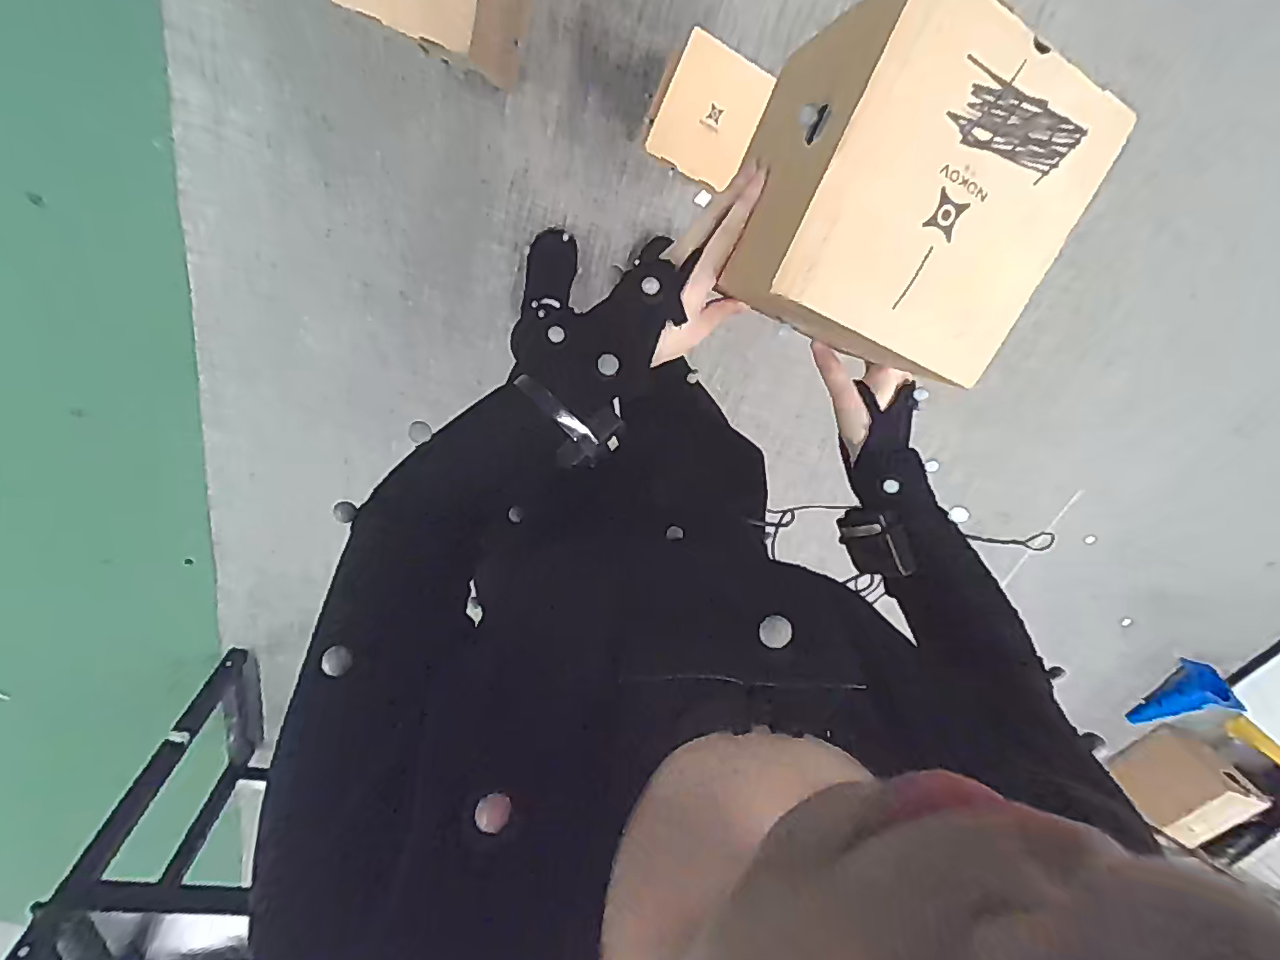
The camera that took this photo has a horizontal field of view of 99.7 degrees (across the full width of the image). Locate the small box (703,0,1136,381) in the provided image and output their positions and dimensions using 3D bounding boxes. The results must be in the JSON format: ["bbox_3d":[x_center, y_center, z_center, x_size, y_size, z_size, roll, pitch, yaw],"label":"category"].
[{"bbox_3d":[0.164,-0.195,0.380,0.168,0.176,0.179,20,107,-18],"label":"small box"}]

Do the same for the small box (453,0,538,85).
[{"bbox_3d":[-0.282,-0.827,0.945,0.168,0.176,0.179,17,119,-14],"label":"small box"}]

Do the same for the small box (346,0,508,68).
[{"bbox_3d":[-0.258,-0.652,0.670,0.168,0.176,0.179,15,119,-11],"label":"small box"}]

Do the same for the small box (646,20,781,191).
[{"bbox_3d":[0.117,-0.617,0.912,0.168,0.176,0.179,21,118,-16],"label":"small box"}]

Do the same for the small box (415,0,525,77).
[{"bbox_3d":[-0.269,-0.740,0.809,0.168,0.176,0.179,15,120,-12],"label":"small box"}]
